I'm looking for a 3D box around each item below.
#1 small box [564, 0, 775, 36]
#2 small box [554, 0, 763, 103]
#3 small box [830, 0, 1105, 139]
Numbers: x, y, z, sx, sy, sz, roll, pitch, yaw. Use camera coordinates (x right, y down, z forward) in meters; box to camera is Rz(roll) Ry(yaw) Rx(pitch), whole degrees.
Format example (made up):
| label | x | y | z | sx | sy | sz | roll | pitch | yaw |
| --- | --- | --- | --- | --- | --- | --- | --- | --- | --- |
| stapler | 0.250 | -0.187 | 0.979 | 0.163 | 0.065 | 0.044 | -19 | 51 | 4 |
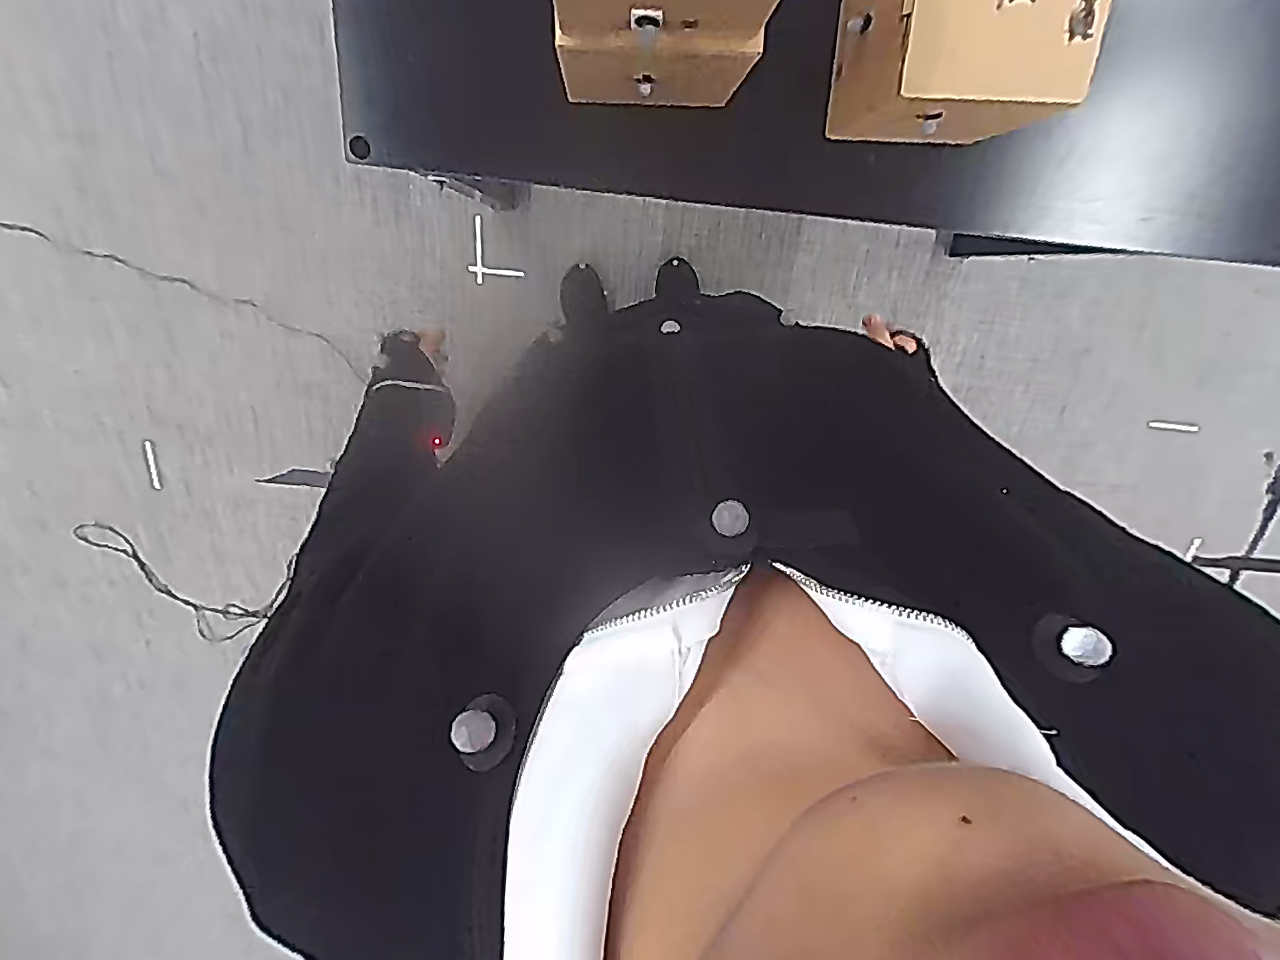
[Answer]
| label | x | y | z | sx | sy | sz | roll | pitch | yaw |
| --- | --- | --- | --- | --- | --- | --- | --- | --- | --- |
| small box | 0.021 | -0.421 | 0.342 | 0.168 | 0.176 | 0.179 | -2 | 112 | -1 |
| small box | 0.014 | -0.468 | 0.498 | 0.179 | 0.176 | 0.168 | 0 | 111 | -2 |
| small box | 0.304 | -0.445 | 0.525 | 0.179 | 0.176 | 0.168 | 0 | 111 | -3 |
